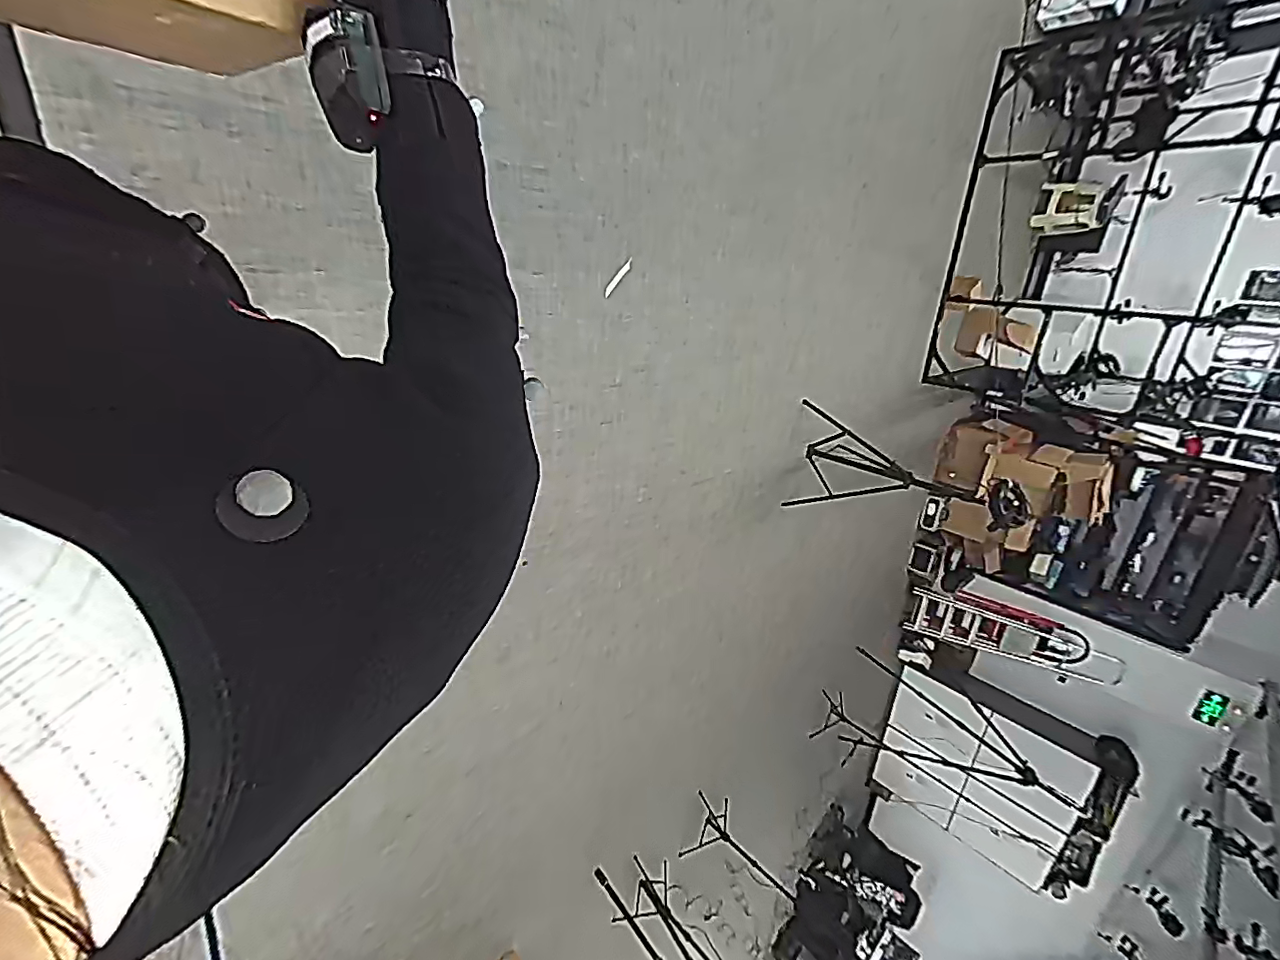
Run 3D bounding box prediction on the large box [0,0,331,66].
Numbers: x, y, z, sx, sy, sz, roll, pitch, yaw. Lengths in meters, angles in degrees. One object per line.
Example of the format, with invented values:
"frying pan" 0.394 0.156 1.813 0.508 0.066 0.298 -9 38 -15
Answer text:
"large box" -0.433 -0.450 0.259 0.408 0.320 0.320 -16 126 -42
